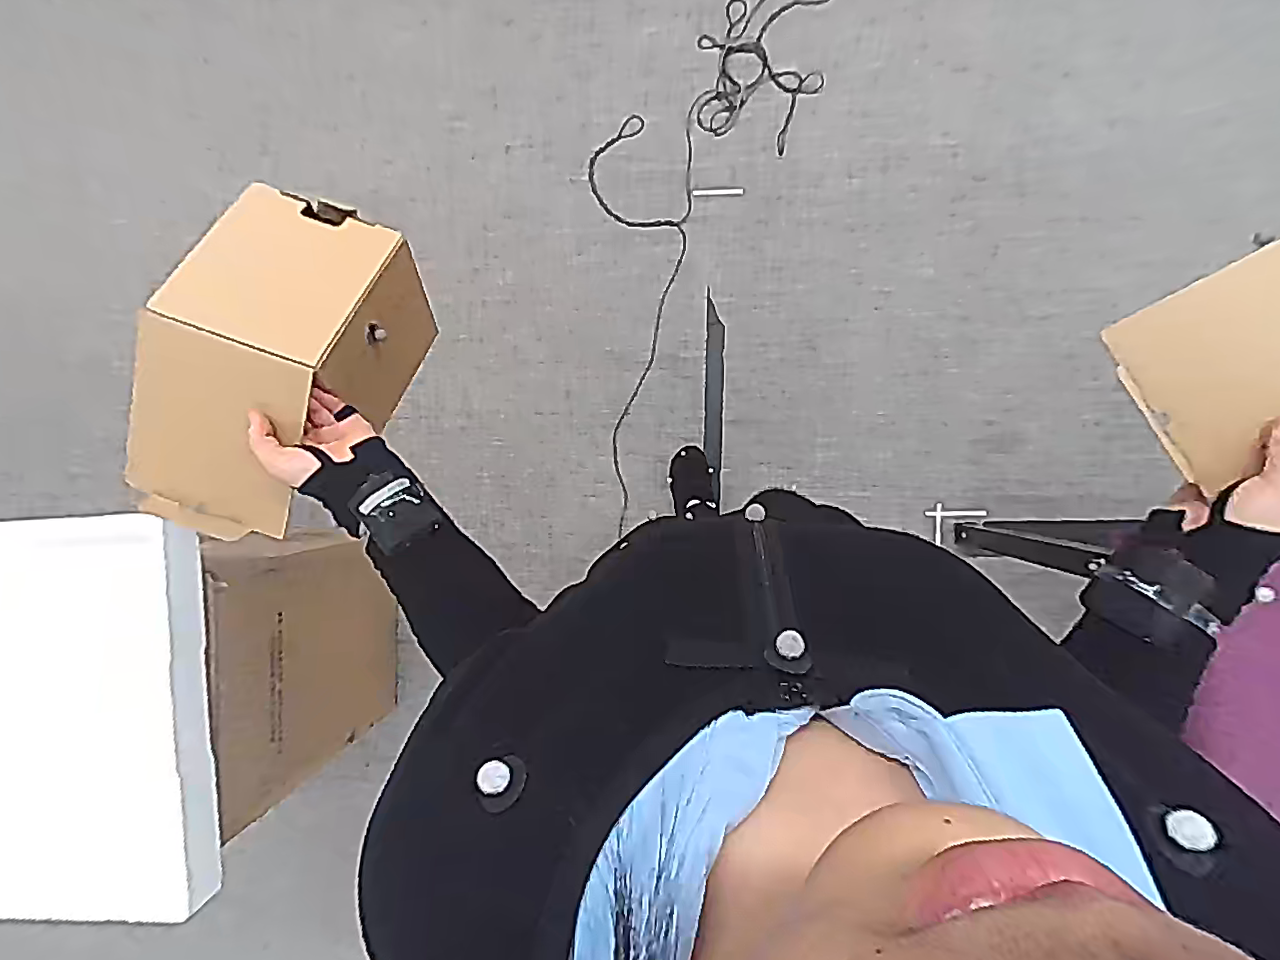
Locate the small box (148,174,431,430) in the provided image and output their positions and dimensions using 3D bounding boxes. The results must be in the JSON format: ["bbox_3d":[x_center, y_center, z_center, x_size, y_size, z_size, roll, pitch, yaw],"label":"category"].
[{"bbox_3d":[-0.352,-0.181,0.591,0.168,0.176,0.179,21,68,-1],"label":"small box"}]
